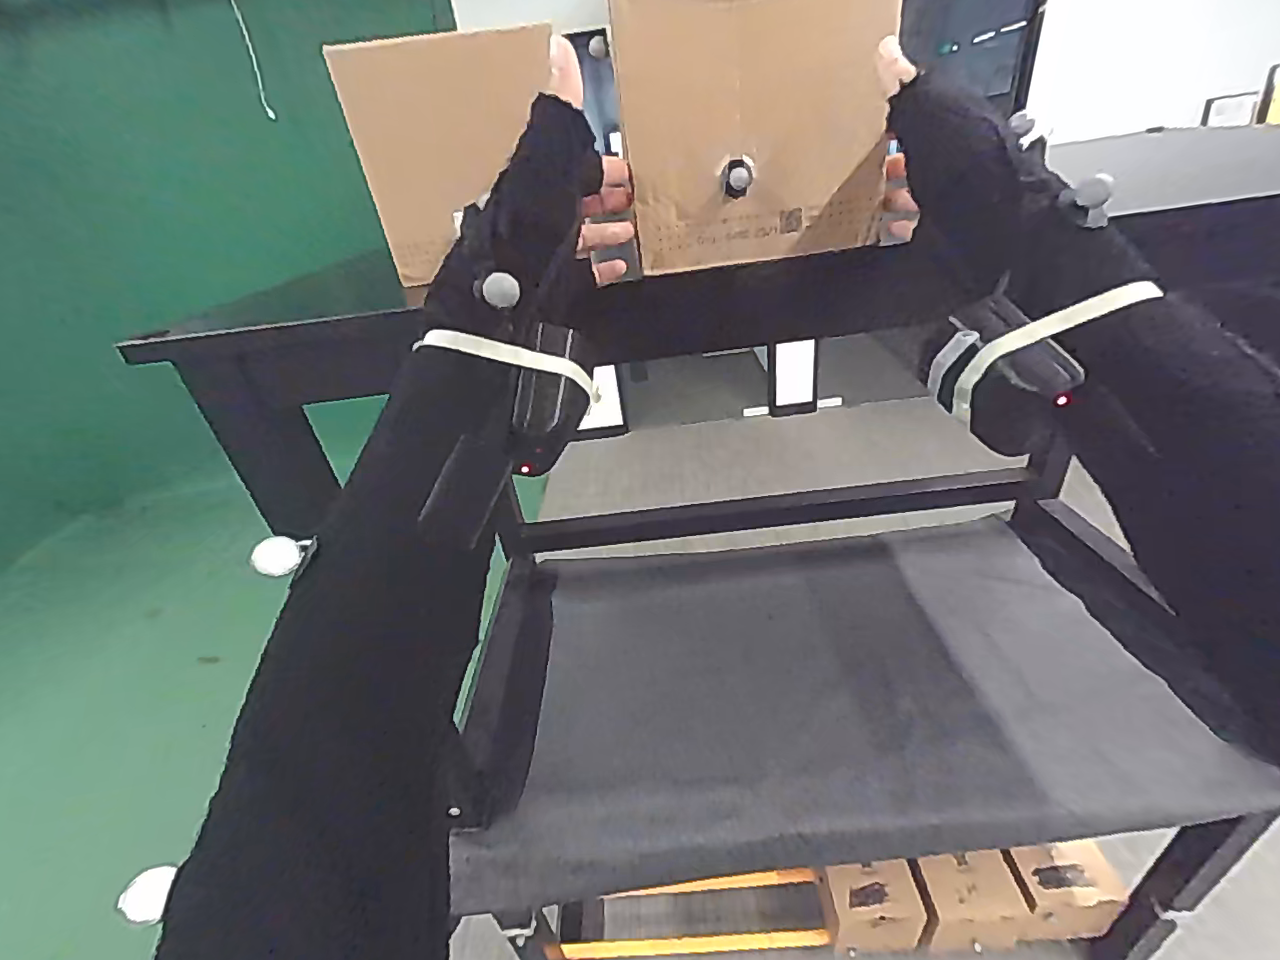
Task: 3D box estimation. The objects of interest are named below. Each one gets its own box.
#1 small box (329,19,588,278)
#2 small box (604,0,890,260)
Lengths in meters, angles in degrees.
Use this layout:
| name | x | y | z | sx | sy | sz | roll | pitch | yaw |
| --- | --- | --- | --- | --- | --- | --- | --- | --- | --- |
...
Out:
| name | x | y | z | sx | sy | sz | roll | pitch | yaw |
| --- | --- | --- | --- | --- | --- | --- | --- | --- | --- |
| small box | -0.151 | -0.296 | 0.506 | 0.168 | 0.176 | 0.179 | -13 | 32 | -6 |
| small box | 0.066 | -0.270 | 0.407 | 0.168 | 0.176 | 0.179 | -7 | 31 | 3 |
